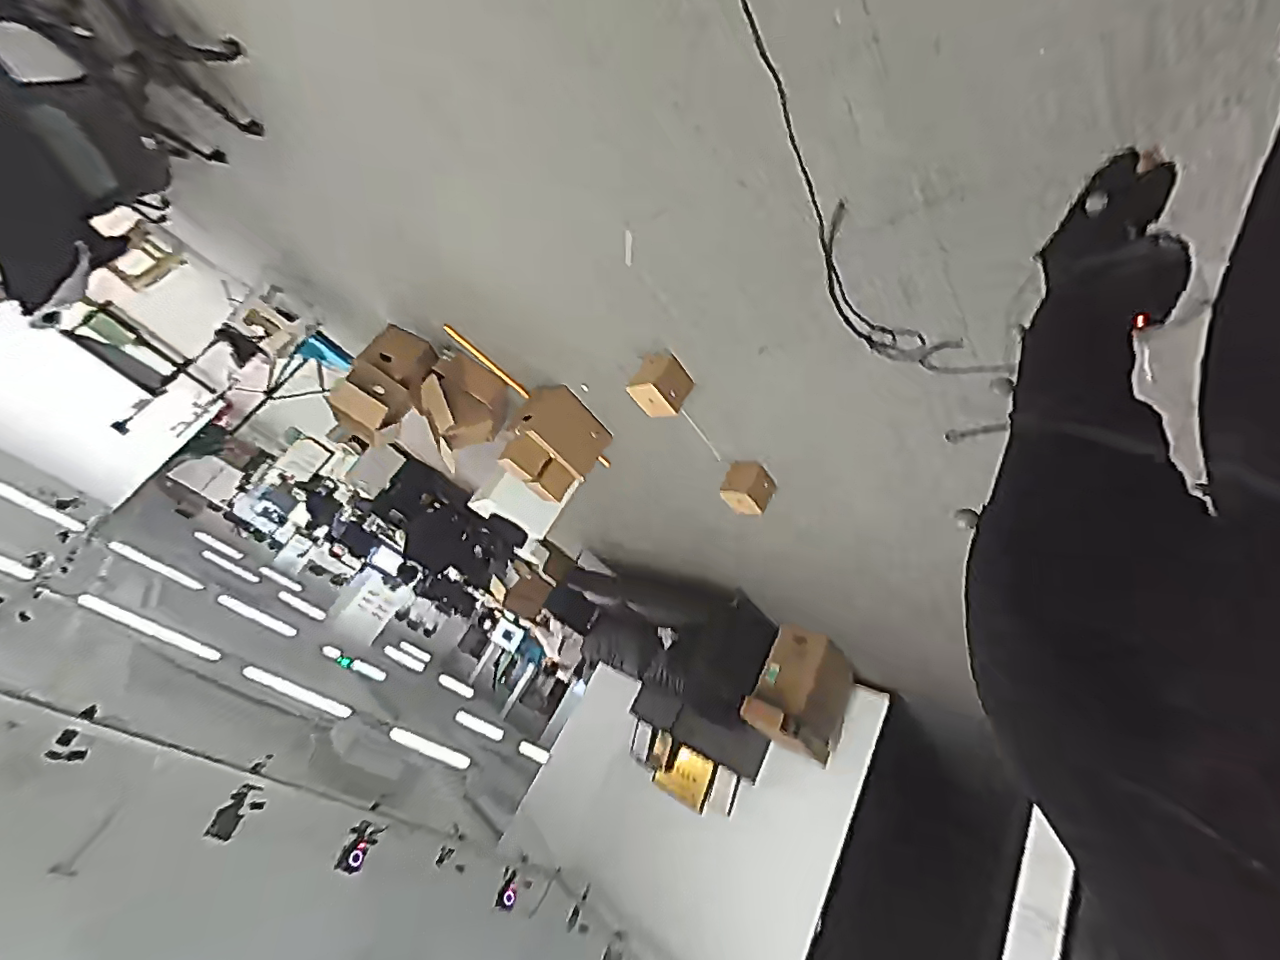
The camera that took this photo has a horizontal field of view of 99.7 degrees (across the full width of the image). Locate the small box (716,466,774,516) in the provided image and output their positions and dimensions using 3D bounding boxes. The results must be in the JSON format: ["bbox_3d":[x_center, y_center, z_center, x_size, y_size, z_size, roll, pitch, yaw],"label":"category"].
[{"bbox_3d":[0.495,0.045,2.523,0.179,0.176,0.168,3,145,49],"label":"small box"}]

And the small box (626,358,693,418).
[{"bbox_3d":[0.082,-0.374,2.172,0.168,0.176,0.179,2,145,49],"label":"small box"}]
